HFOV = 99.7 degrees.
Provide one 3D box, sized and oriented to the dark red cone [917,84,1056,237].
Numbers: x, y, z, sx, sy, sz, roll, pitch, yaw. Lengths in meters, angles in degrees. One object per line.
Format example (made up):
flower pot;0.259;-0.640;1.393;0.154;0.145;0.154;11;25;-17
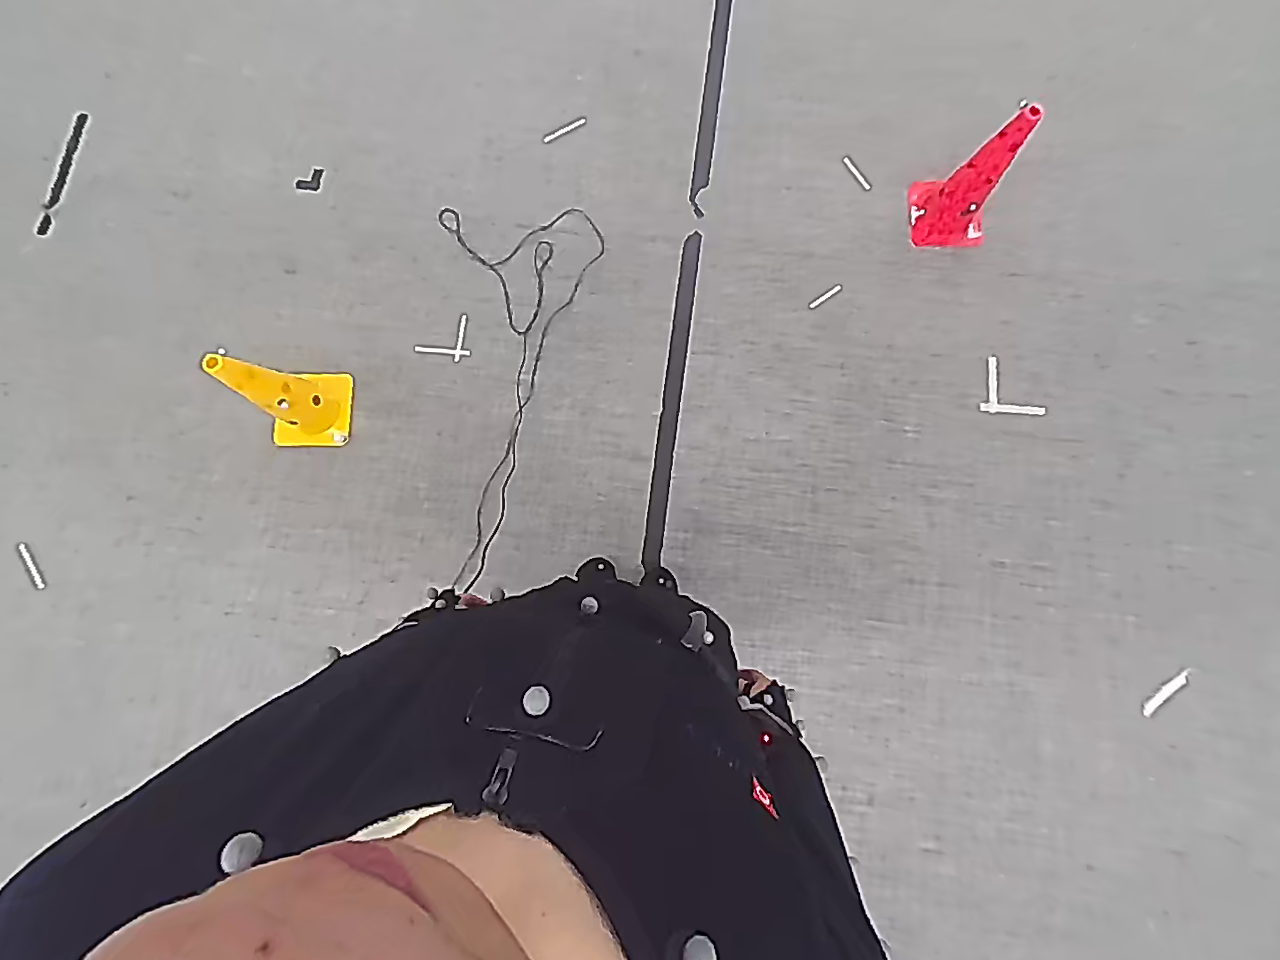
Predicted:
dark red cone;0.864;-0.791;1.328;0.201;0.394;0.202;-1;81;2
